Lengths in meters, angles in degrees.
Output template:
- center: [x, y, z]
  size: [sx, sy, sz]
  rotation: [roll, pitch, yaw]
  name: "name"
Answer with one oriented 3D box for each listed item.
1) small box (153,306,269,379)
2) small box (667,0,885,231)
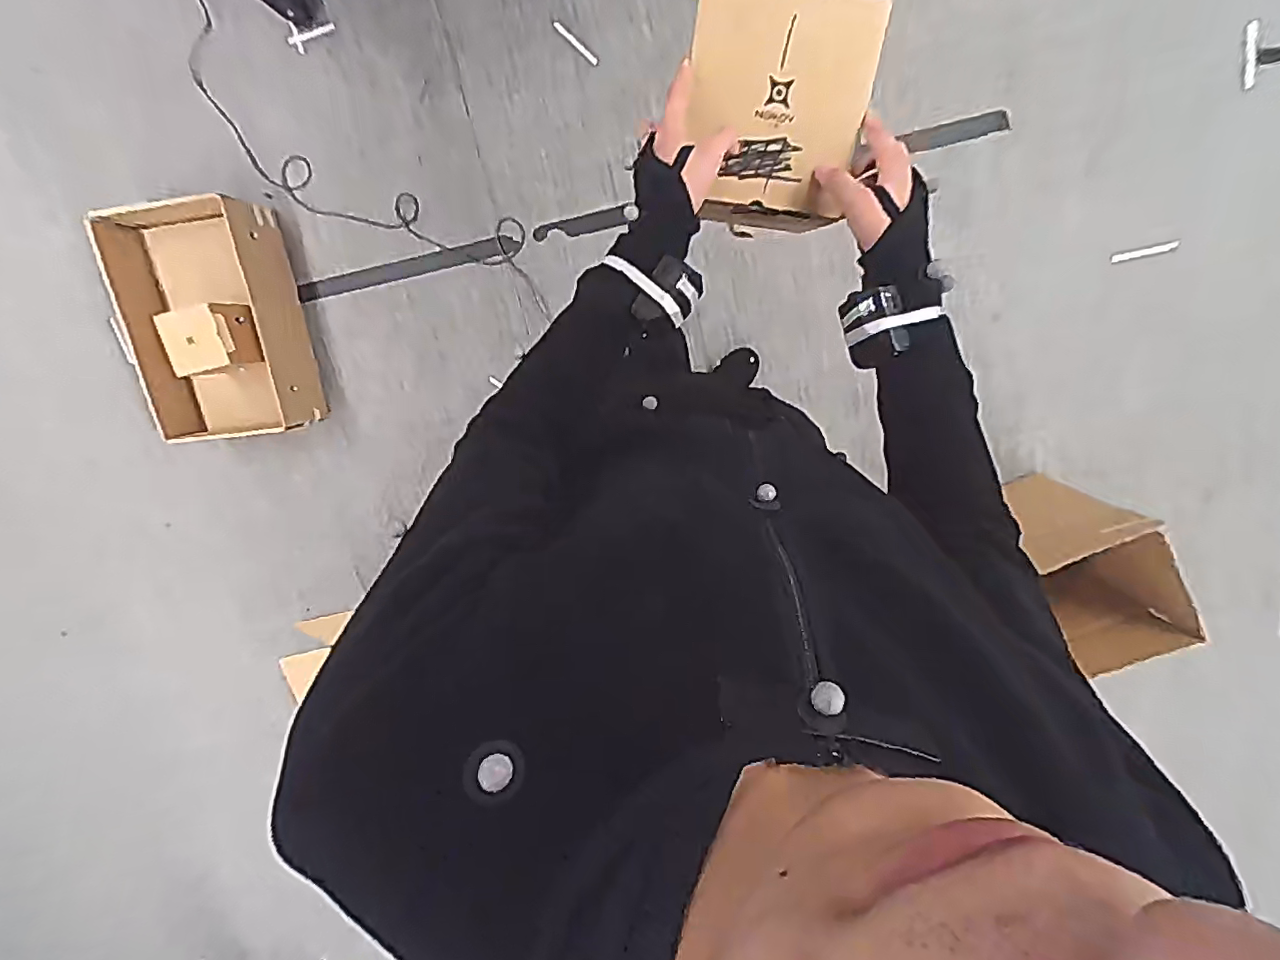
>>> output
- center: [-1.187, -0.386, 1.518]
  size: [0.179, 0.176, 0.168]
  rotation: [-10, 103, 8]
  name: "small box"
- center: [0.121, -0.367, 0.561]
  size: [0.168, 0.176, 0.179]
  rotation: [7, 110, -1]
  name: "small box"
